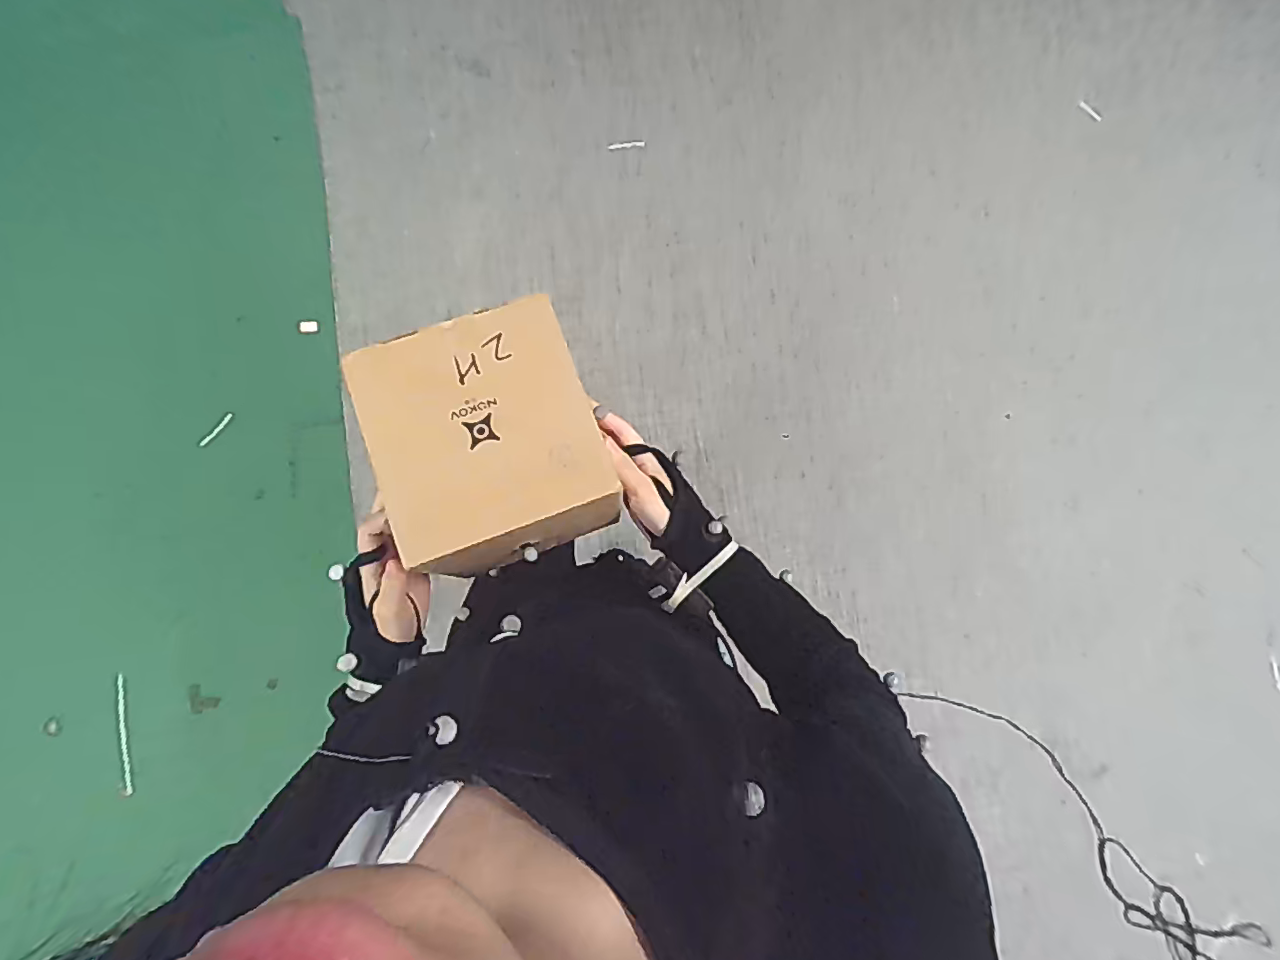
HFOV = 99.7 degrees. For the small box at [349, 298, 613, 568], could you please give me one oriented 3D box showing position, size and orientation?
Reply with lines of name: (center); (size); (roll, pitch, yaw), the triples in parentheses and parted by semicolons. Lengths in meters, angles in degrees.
small box: (-0.126, -0.026, 0.491); (0.168, 0.176, 0.179); (-19, 78, -7)
